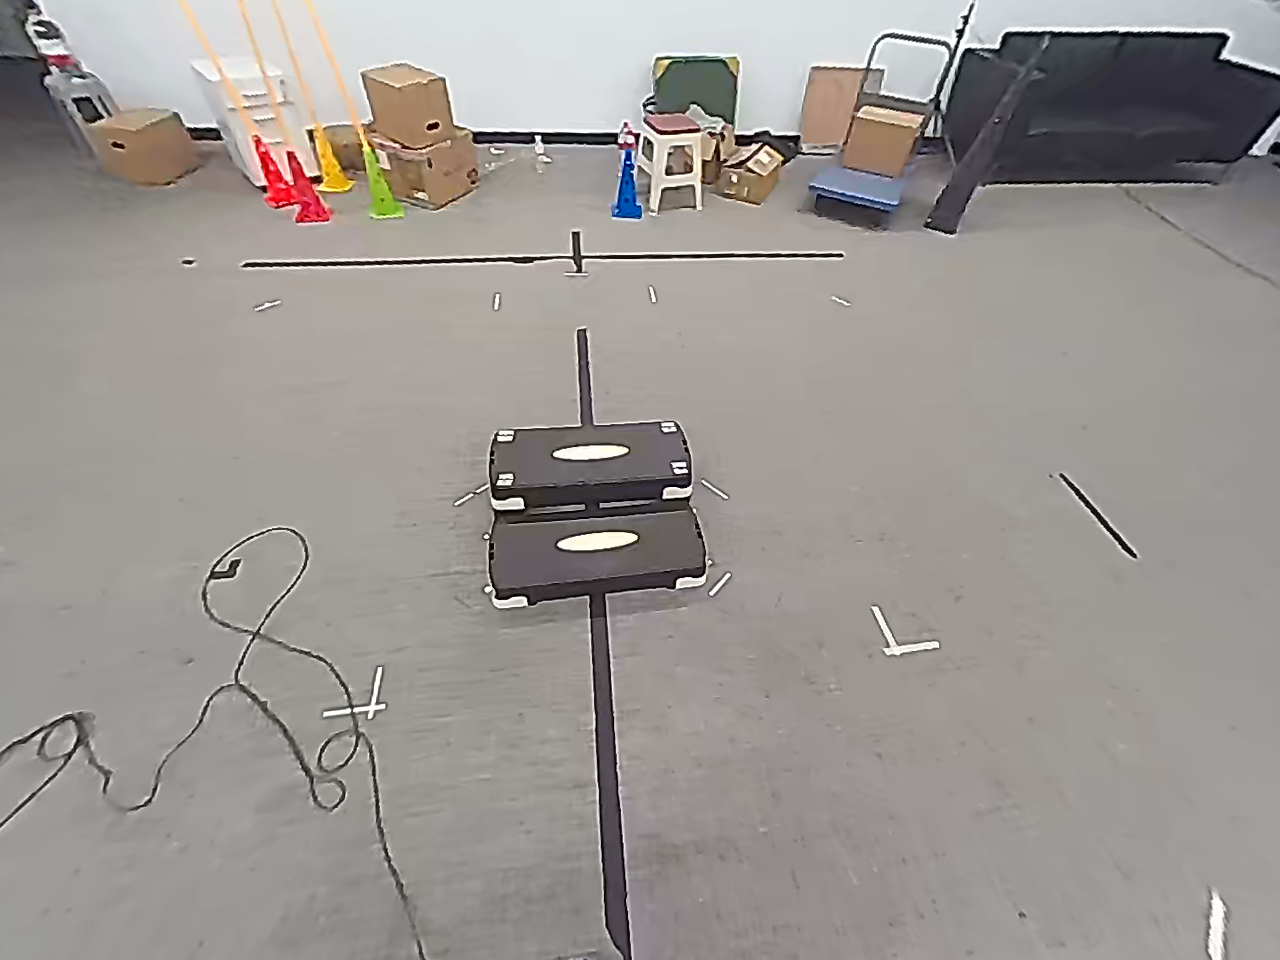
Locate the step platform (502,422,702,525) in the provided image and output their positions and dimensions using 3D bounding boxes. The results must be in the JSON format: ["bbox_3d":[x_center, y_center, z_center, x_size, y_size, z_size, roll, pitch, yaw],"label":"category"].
[{"bbox_3d":[-0.129,-0.034,1.880,0.684,0.204,0.286,-4,49,-8],"label":"step platform"}]
